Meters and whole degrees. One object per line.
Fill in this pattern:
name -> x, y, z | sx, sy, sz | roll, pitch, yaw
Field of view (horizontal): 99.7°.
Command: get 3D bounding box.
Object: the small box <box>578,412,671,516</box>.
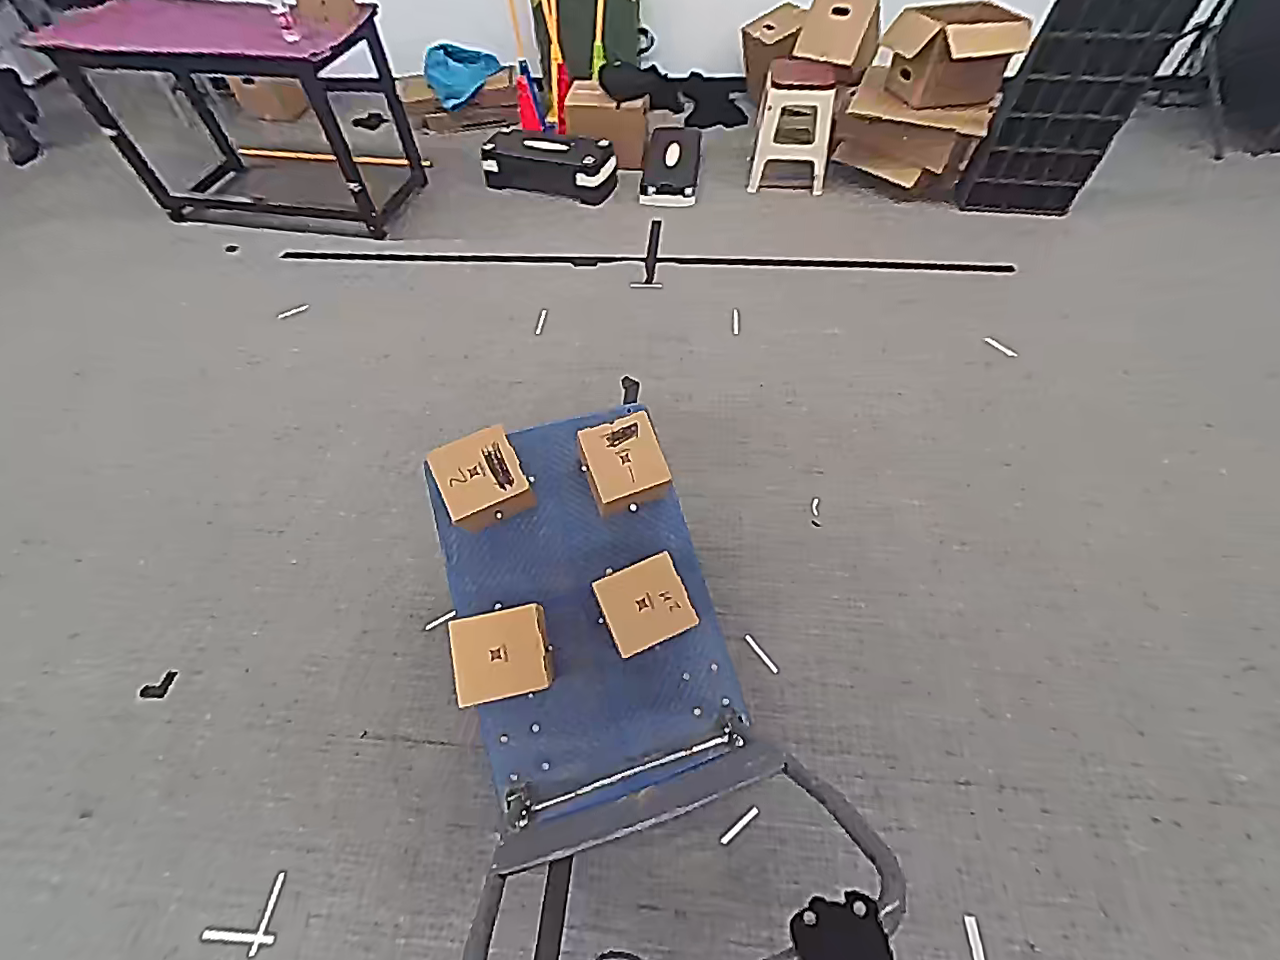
small box -> -0.043, -0.032, 1.270 | 0.168, 0.176, 0.179 | -20, 78, -10

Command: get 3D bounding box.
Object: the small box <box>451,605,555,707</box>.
small box -> -0.283, 0.367, 1.140 | 0.179, 0.176, 0.168 | -11, 76, -10

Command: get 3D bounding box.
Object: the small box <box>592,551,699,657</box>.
small box -> 0.007, 0.275, 1.189 | 0.179, 0.176, 0.168 | -23, 78, -11
